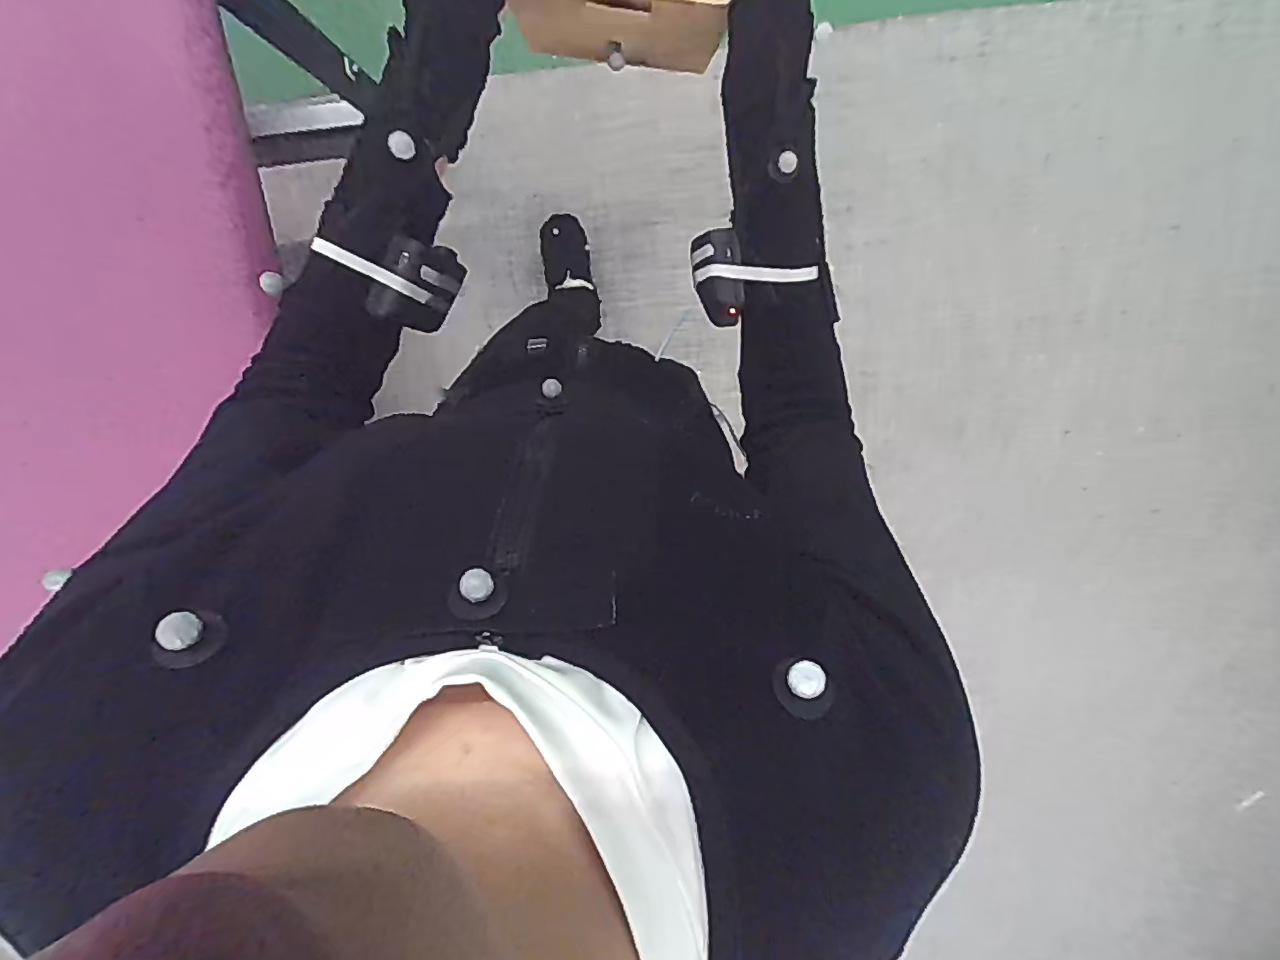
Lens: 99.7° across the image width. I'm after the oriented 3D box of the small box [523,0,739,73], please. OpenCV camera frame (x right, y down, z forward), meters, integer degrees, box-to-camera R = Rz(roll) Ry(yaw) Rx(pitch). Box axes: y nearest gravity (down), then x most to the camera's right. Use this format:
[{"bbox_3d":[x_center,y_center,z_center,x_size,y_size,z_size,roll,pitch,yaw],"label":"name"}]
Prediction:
[{"bbox_3d":[-0.006,-0.439,0.399,0.168,0.176,0.179,5,114,-4],"label":"small box"}]
